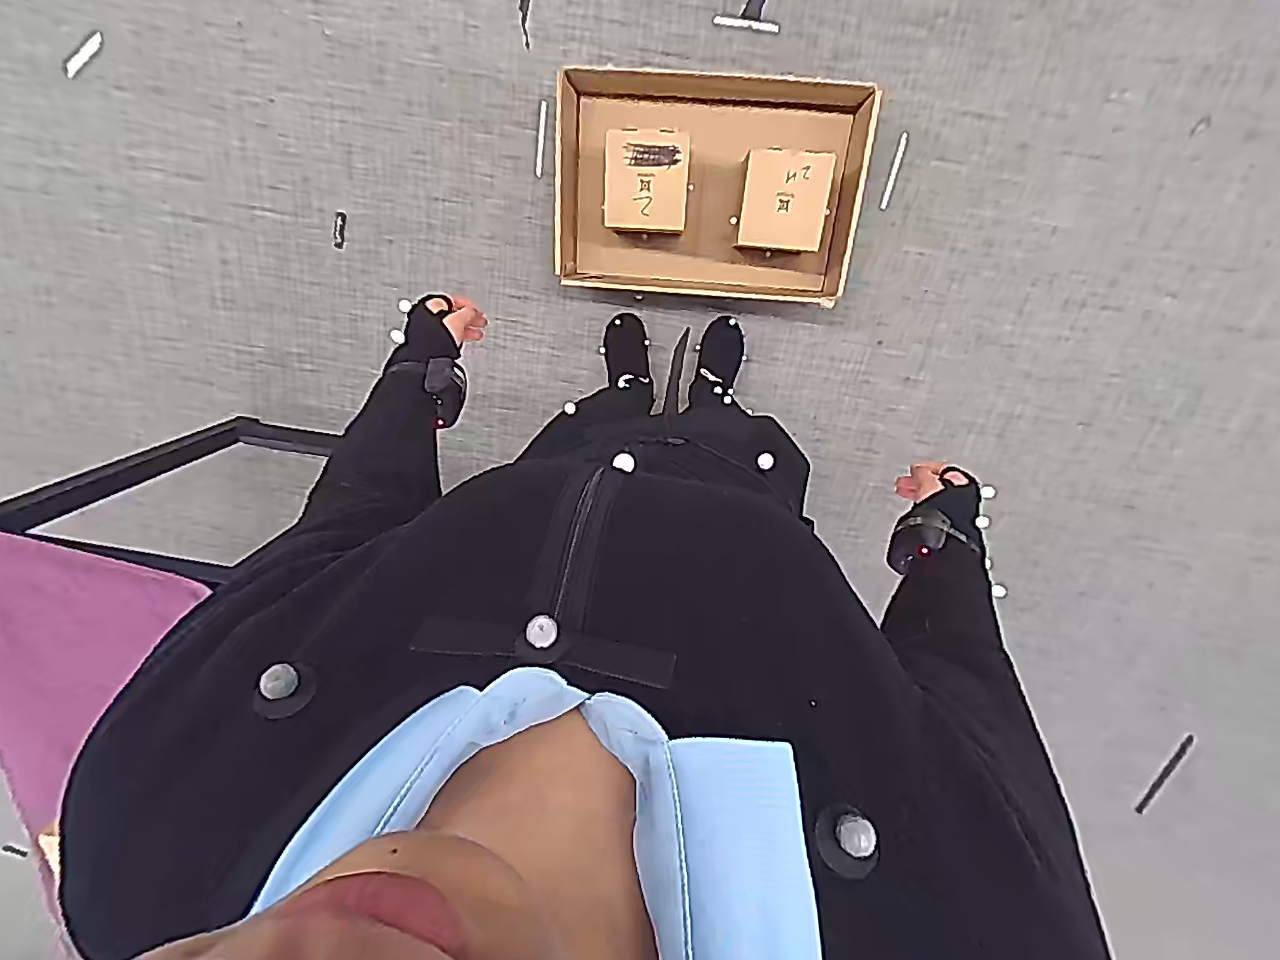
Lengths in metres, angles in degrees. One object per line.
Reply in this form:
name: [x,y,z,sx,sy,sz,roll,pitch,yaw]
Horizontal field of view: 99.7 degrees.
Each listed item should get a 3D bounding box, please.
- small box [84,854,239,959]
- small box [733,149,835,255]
small box: [-0.983,0.919,1.131,0.168,0.176,0.179,10,112,1]
small box: [0.292,-0.575,1.138,0.168,0.176,0.179,7,112,2]
